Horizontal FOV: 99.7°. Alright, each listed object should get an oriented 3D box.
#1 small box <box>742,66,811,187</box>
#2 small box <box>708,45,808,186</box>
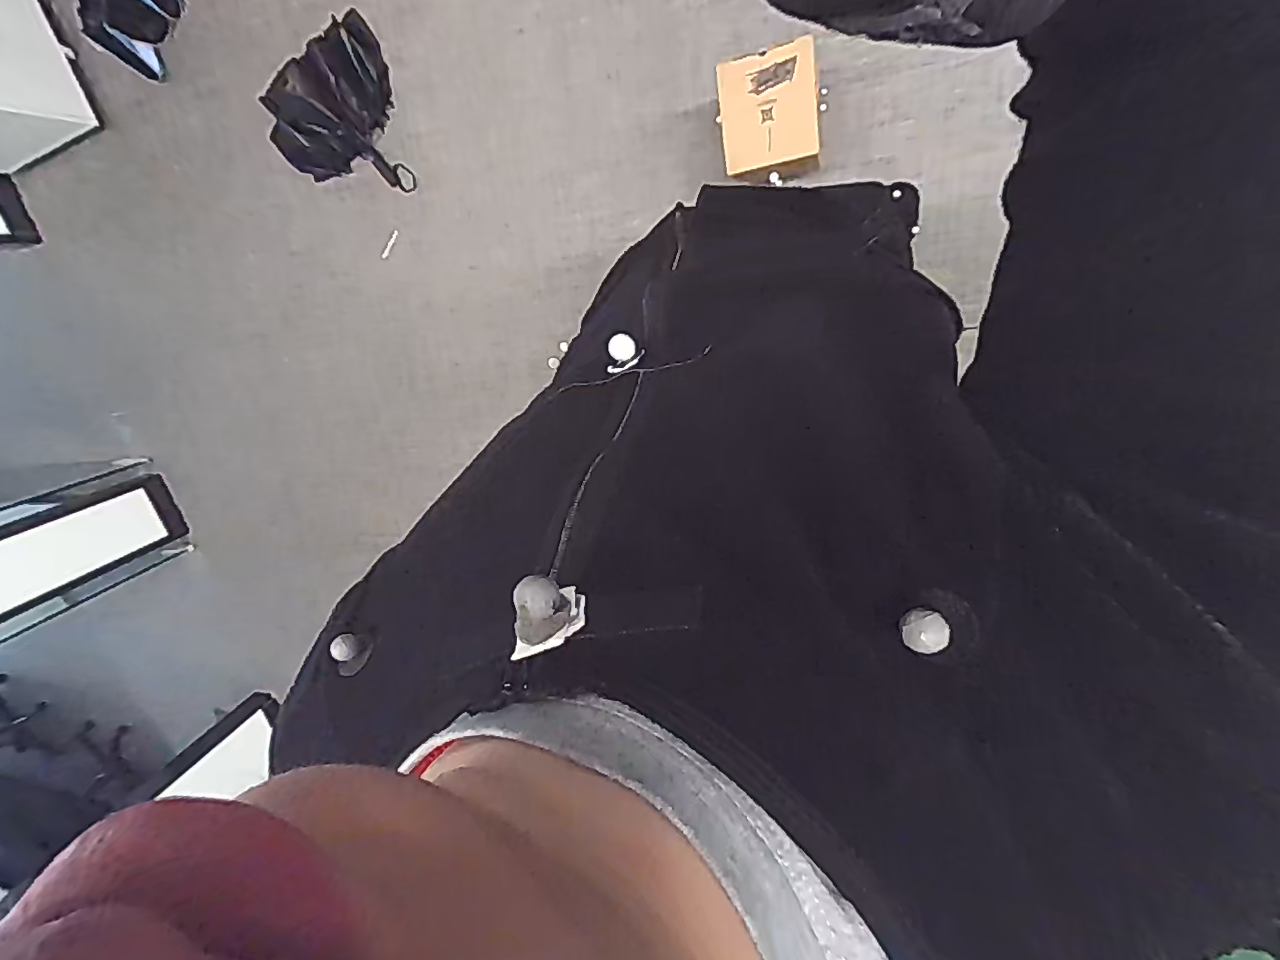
[{"bbox_3d":[0.279,-0.749,1.166,0.168,0.176,0.179,-2,114,19],"label":"small box"},{"bbox_3d":[0.230,-0.676,1.027,0.168,0.176,0.179,-2,113,19],"label":"small box"}]
